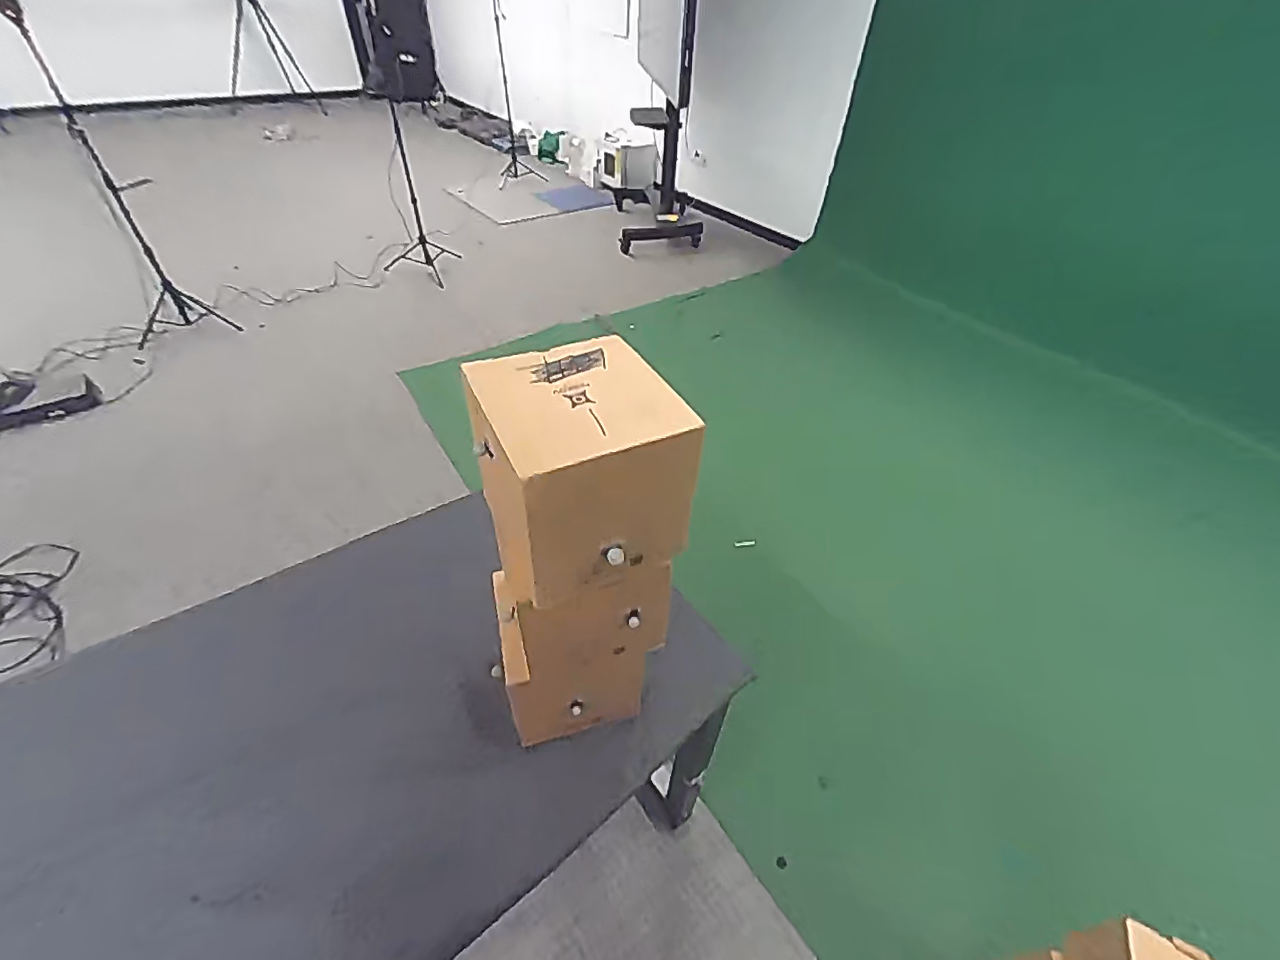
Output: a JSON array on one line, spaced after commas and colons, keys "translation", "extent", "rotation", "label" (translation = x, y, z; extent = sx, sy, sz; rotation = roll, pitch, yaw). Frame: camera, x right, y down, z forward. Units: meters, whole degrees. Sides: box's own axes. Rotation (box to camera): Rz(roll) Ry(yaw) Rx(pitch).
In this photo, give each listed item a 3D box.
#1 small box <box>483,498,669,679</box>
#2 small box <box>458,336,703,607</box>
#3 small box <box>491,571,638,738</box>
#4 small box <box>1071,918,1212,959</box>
[{"translation": [-0.076, 0.107, 0.633], "extent": [0.168, 0.176, 0.179], "rotation": [-13, 43, -18], "label": "small box"}, {"translation": [-0.061, -0.013, 0.521], "extent": [0.168, 0.176, 0.179], "rotation": [-18, 47, -21], "label": "small box"}, {"translation": [-0.102, 0.227, 0.740], "extent": [0.168, 0.176, 0.179], "rotation": [-10, 43, -14], "label": "small box"}, {"translation": [0.764, 0.794, 0.784], "extent": [0.168, 0.176, 0.179], "rotation": [21, 46, 19], "label": "small box"}]
